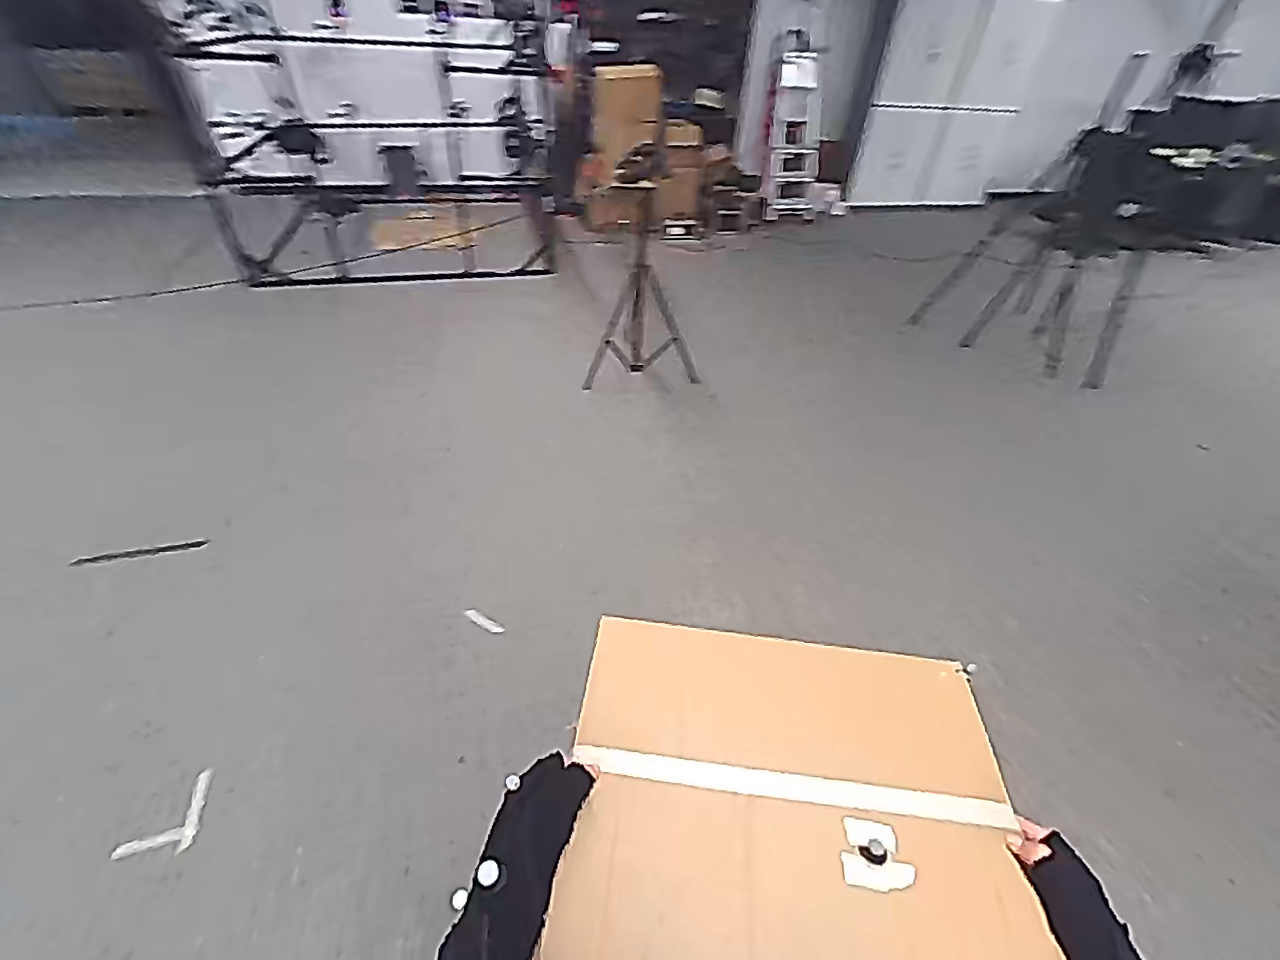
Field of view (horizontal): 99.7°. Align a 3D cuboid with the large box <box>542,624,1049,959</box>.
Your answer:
[{"bbox_3d":[0.125,0.397,0.611,0.408,0.320,0.320,6,42,3],"label":"large box"}]
